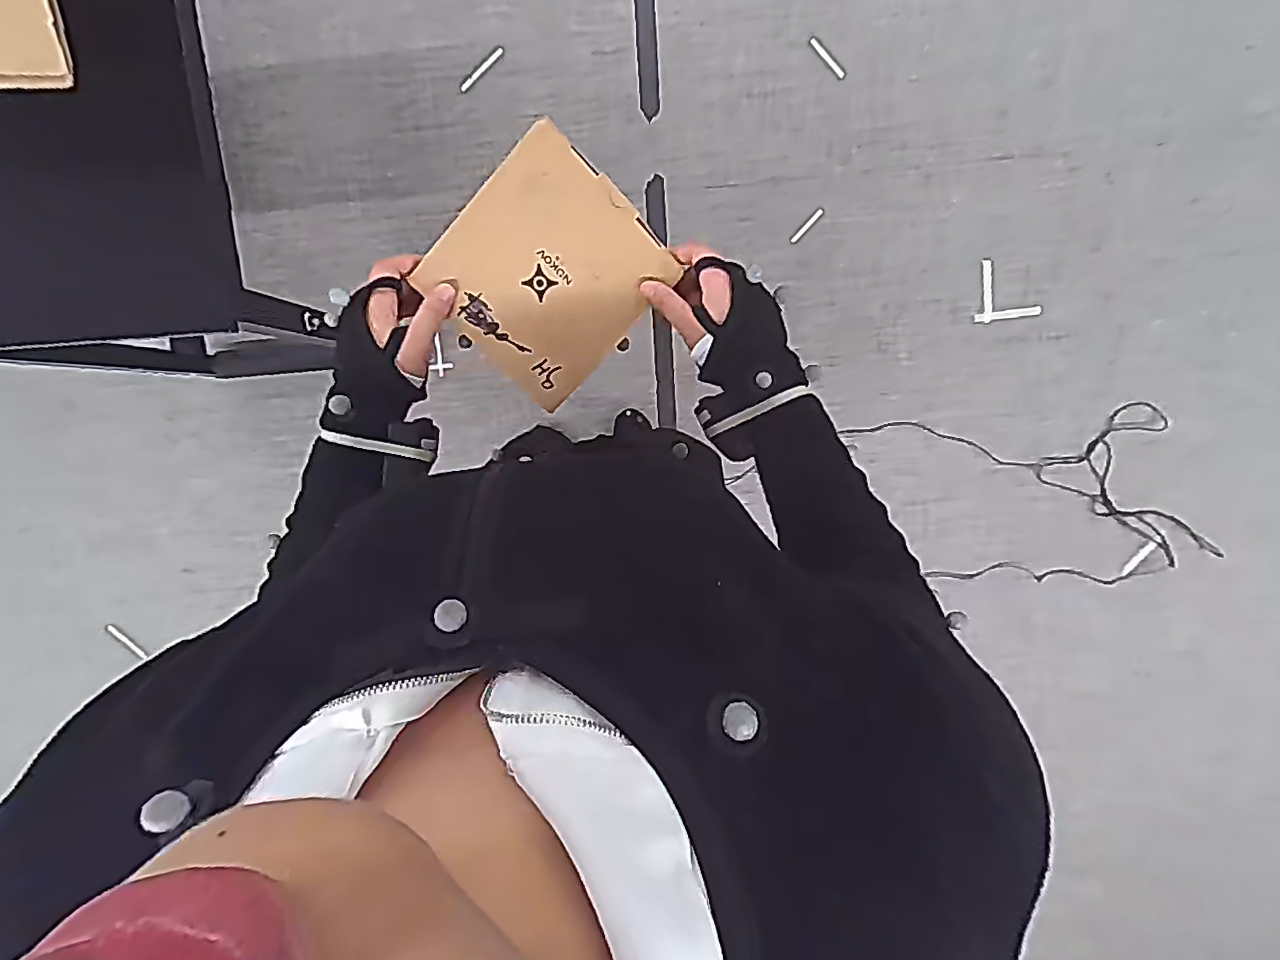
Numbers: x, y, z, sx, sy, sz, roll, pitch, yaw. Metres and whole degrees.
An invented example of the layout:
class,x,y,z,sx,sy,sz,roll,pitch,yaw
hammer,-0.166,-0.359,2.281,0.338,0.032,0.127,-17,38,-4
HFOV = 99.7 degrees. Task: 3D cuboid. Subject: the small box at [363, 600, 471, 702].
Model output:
class,x,y,z,sx,sy,sz,roll,pitch,yaw
small box,-0.523,0.403,1.301,0.179,0.176,0.168,-11,97,3
